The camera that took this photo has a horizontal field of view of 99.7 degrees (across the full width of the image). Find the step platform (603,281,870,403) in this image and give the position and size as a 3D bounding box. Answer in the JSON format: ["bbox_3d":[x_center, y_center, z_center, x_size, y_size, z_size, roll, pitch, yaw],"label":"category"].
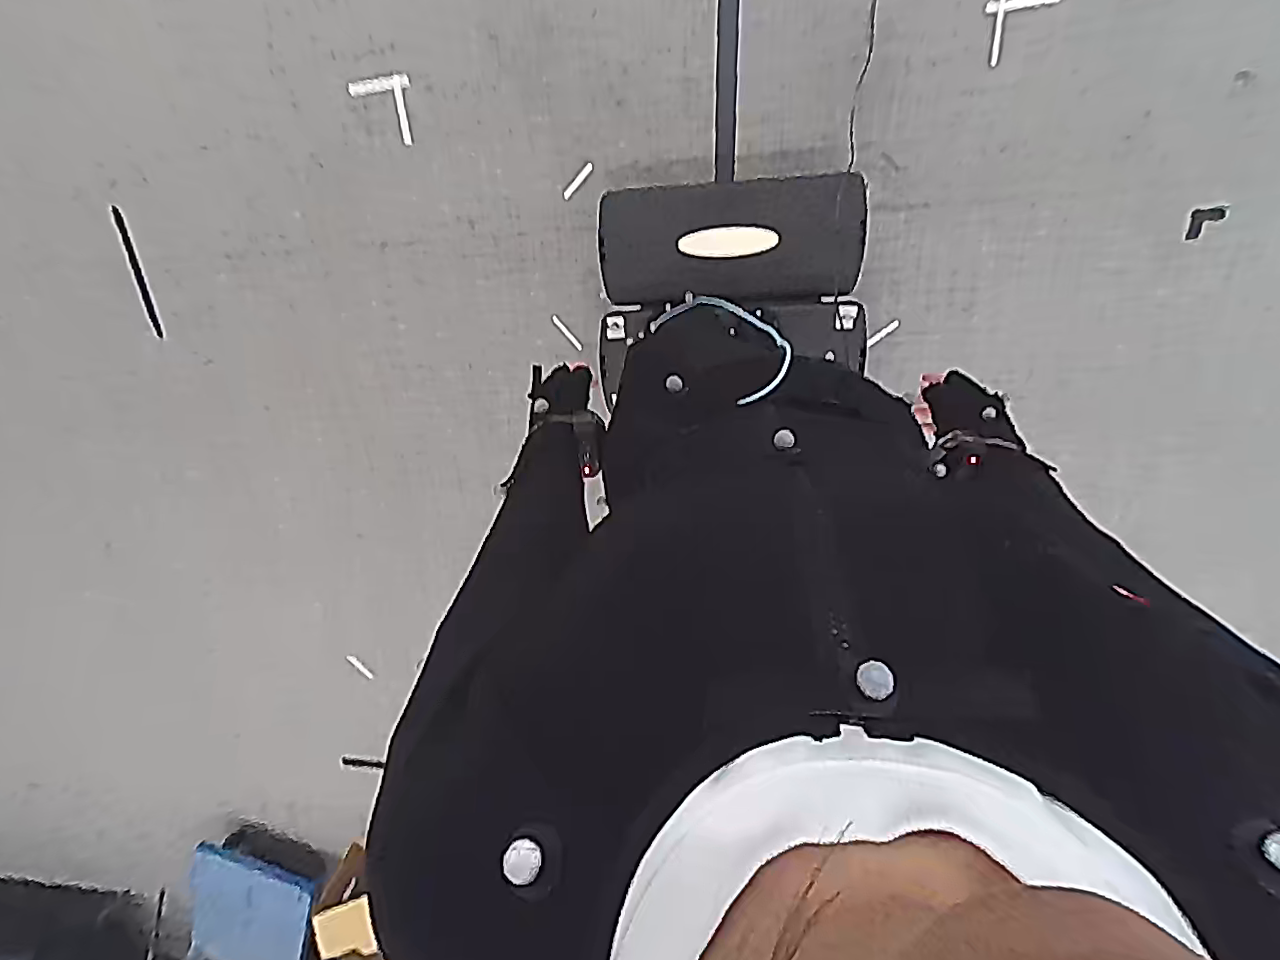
[{"bbox_3d":[0.243,-0.361,1.439,0.684,0.204,0.286,0,110,10],"label":"step platform"}]
